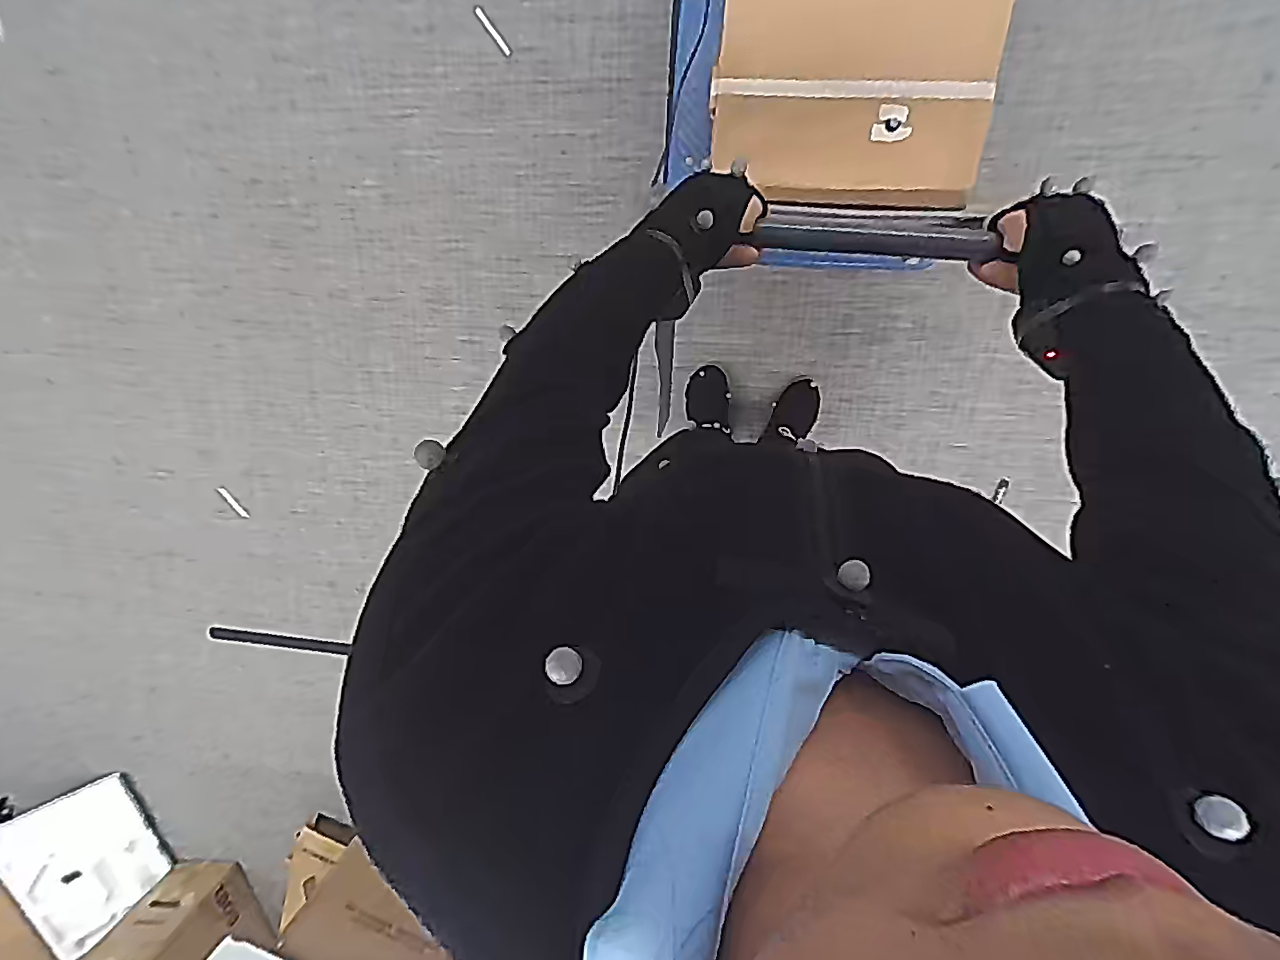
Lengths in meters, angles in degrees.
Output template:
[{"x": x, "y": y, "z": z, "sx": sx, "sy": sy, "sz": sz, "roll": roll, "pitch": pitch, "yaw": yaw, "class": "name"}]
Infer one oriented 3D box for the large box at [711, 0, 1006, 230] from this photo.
[{"x": 0.339, "y": -0.639, "z": 0.969, "sx": 0.408, "sy": 0.320, "sz": 0.320, "roll": 6, "pitch": 109, "yaw": 6, "class": "large box"}]
